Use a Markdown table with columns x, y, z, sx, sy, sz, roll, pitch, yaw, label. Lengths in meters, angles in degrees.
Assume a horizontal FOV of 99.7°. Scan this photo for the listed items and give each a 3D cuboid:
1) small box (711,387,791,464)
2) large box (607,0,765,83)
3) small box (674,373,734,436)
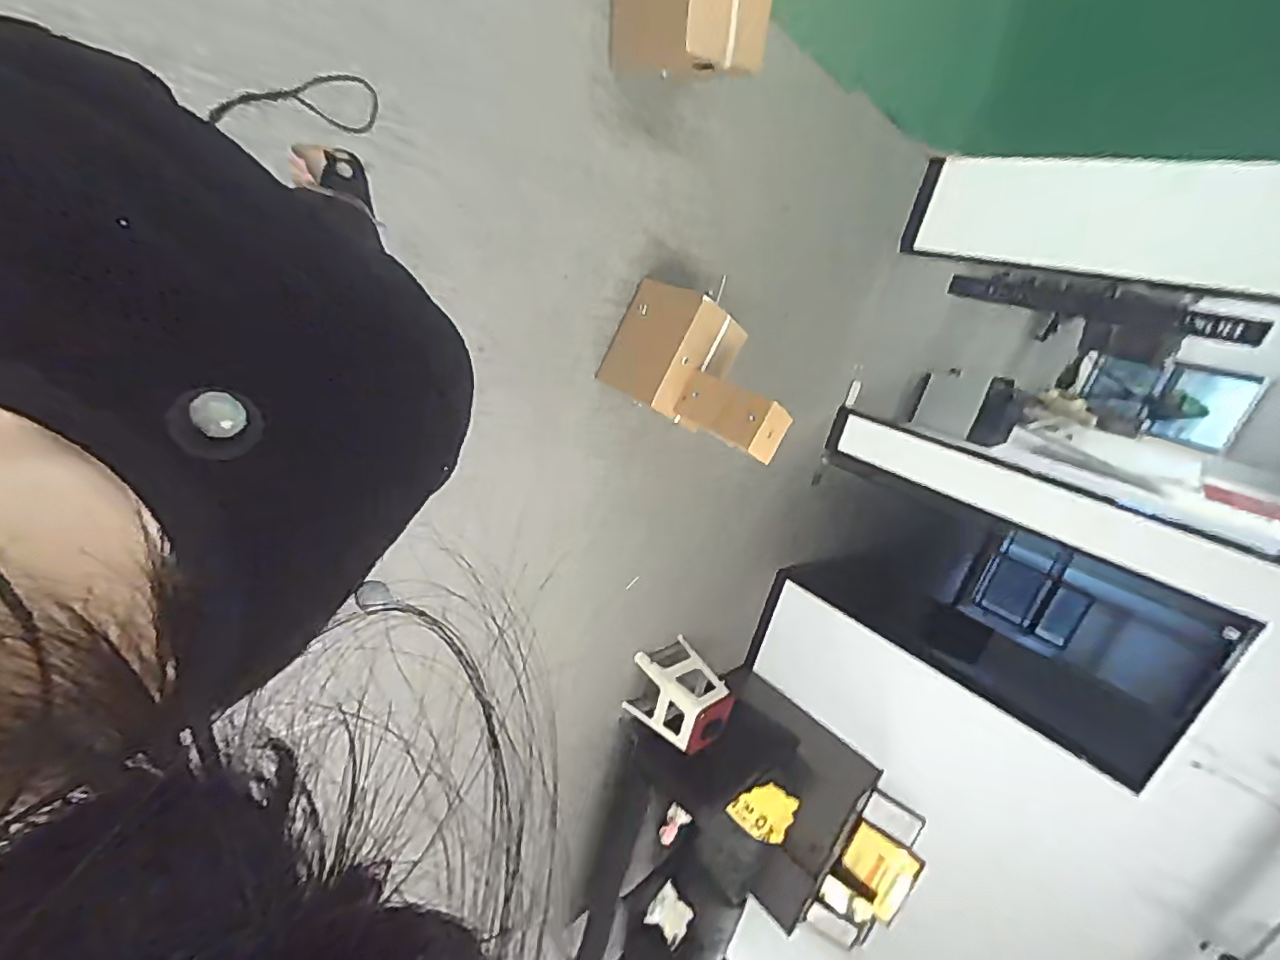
| x | y | z | sx | sy | sz | roll | pitch | yaw | label |
| --- | --- | --- | --- | --- | --- | --- | --- | --- | --- |
| 0.355 | -0.179 | 1.761 | 0.168 | 0.176 | 0.179 | 24 | 95 | -52 | small box |
| 0.124 | -1.333 | 1.439 | 0.320 | 0.320 | 0.408 | -21 | 126 | -38 | large box |
| 0.250 | -0.252 | 1.861 | 0.179 | 0.176 | 0.168 | 21 | 97 | -52 | small box |
